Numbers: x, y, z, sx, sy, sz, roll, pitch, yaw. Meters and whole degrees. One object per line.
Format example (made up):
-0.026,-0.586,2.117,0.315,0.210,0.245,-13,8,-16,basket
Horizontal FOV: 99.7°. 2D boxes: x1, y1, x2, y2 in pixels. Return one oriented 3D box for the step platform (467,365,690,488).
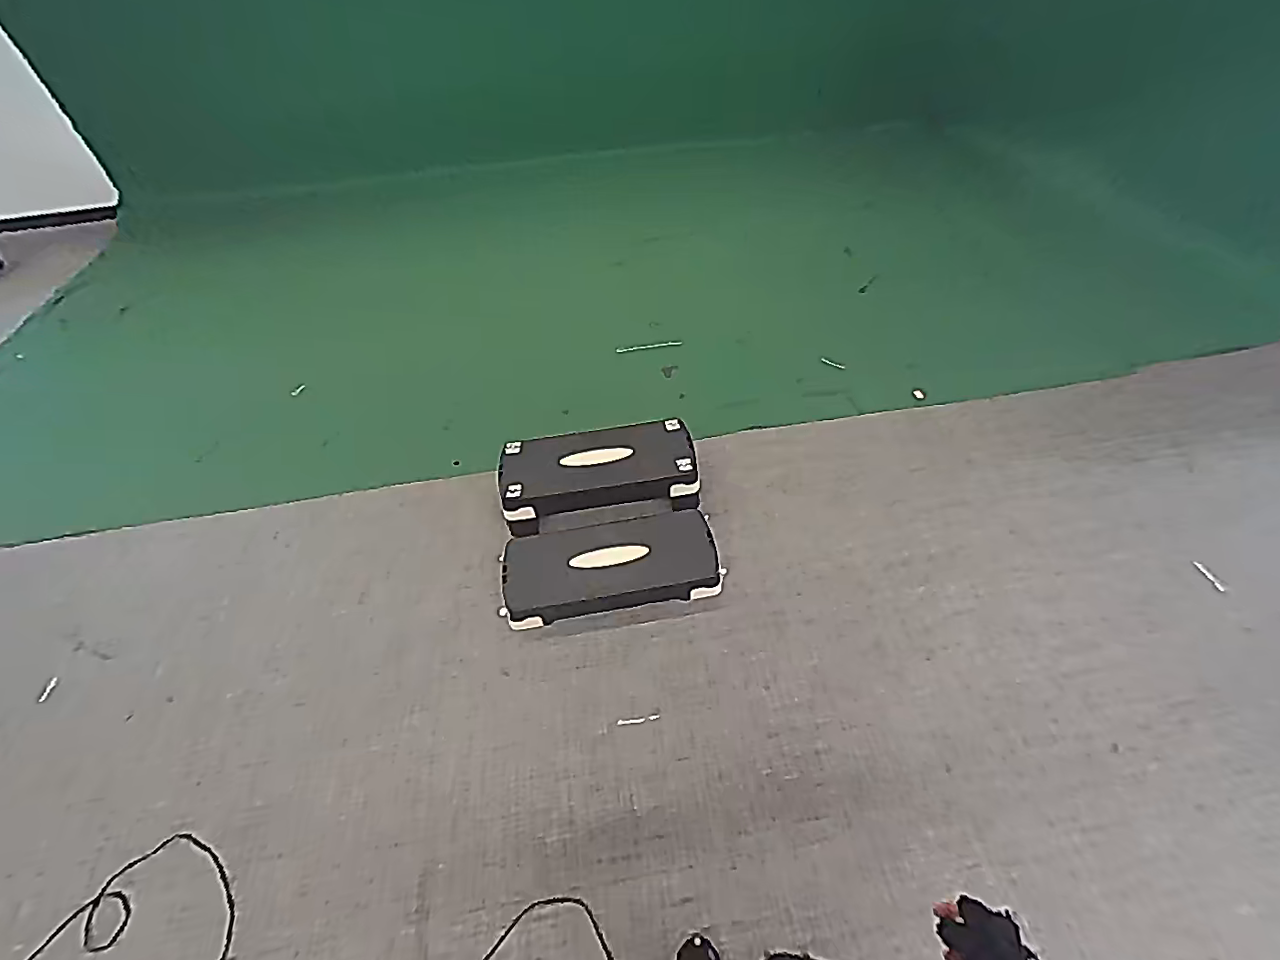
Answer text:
-0.188,-0.175,1.744,0.684,0.204,0.286,-9,49,-3,step platform
